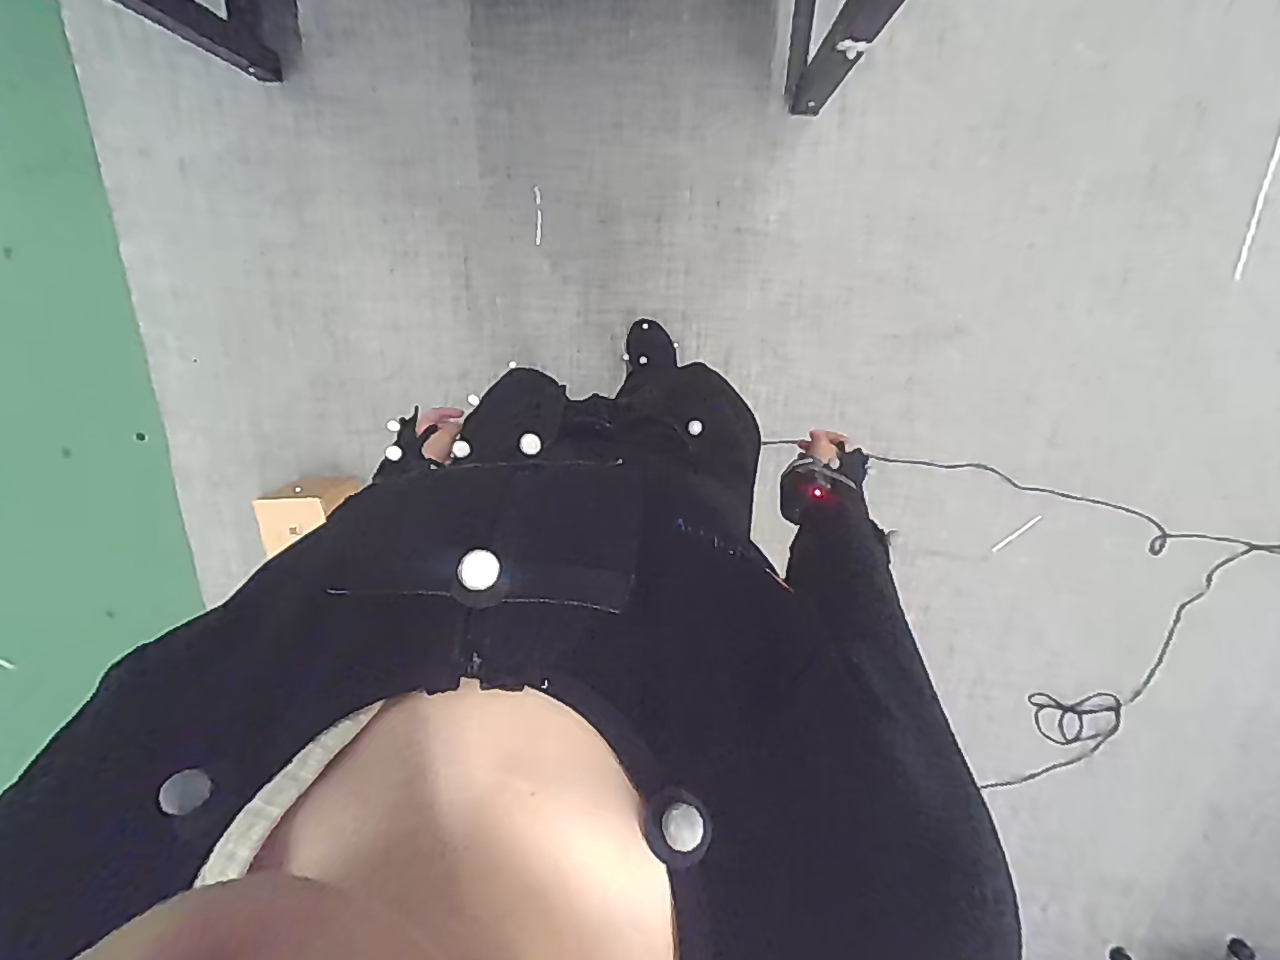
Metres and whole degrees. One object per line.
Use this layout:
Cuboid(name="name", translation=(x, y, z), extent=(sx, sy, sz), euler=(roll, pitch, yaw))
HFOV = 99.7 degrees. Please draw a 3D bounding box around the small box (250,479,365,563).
Cuboid(name="small box", translation=(-0.825, 0.099, 1.367), extent=(0.179, 0.176, 0.168), euler=(-2, 106, 5))
